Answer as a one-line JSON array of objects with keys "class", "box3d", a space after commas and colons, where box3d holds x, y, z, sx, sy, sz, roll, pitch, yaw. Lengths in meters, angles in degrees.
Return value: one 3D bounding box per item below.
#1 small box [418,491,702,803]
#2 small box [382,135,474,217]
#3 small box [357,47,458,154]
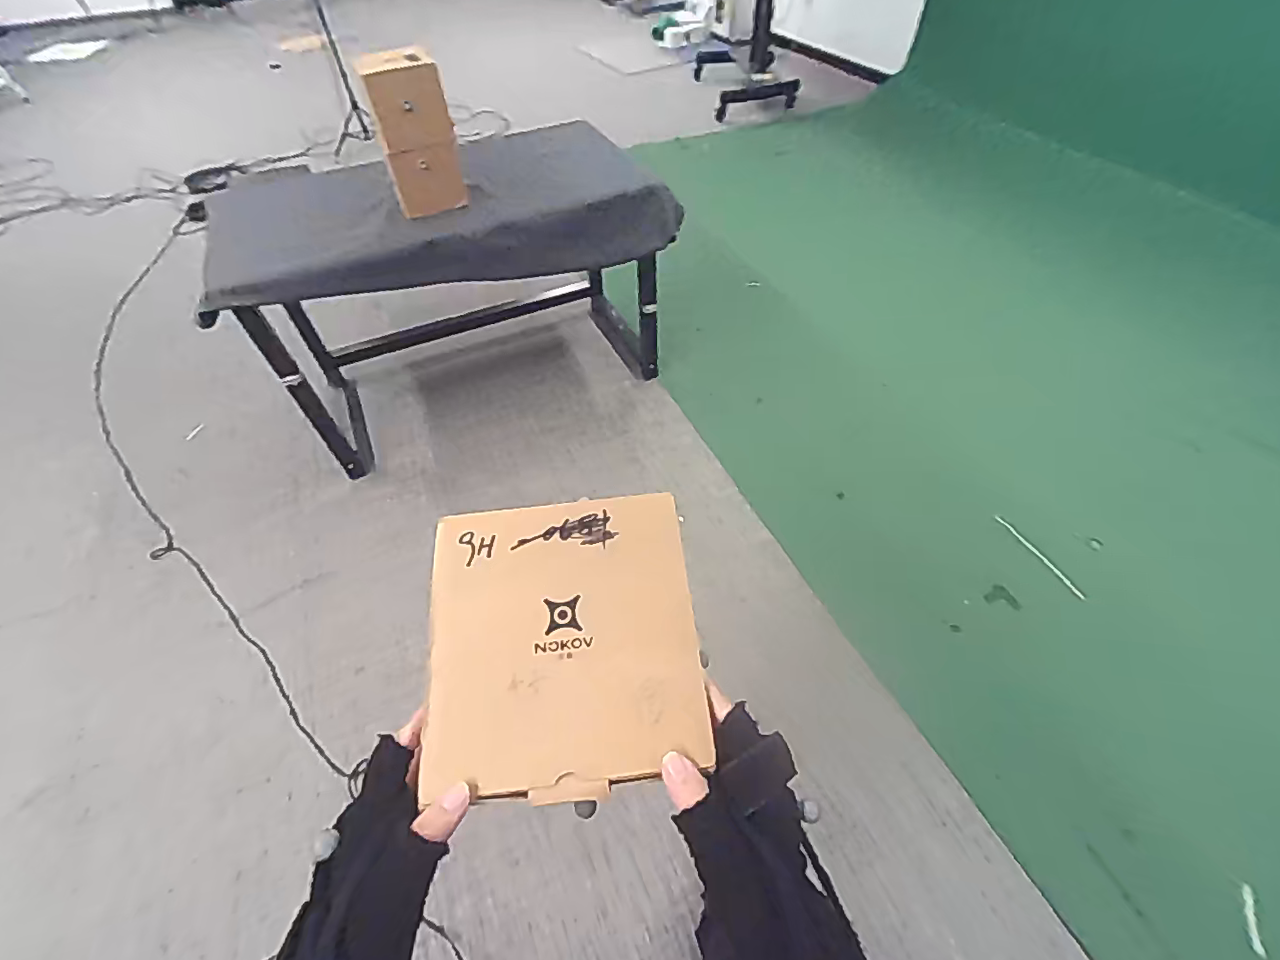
[{"class": "small box", "box3d": [-0.051, 0.129, 0.410, 0.168, 0.176, 0.179, -7, 62, -3]}, {"class": "small box", "box3d": [-0.576, -0.846, 1.482, 0.179, 0.176, 0.168, -21, 54, -16]}, {"class": "small box", "box3d": [-0.572, -0.948, 1.353, 0.179, 0.176, 0.168, -25, 55, -17]}]
